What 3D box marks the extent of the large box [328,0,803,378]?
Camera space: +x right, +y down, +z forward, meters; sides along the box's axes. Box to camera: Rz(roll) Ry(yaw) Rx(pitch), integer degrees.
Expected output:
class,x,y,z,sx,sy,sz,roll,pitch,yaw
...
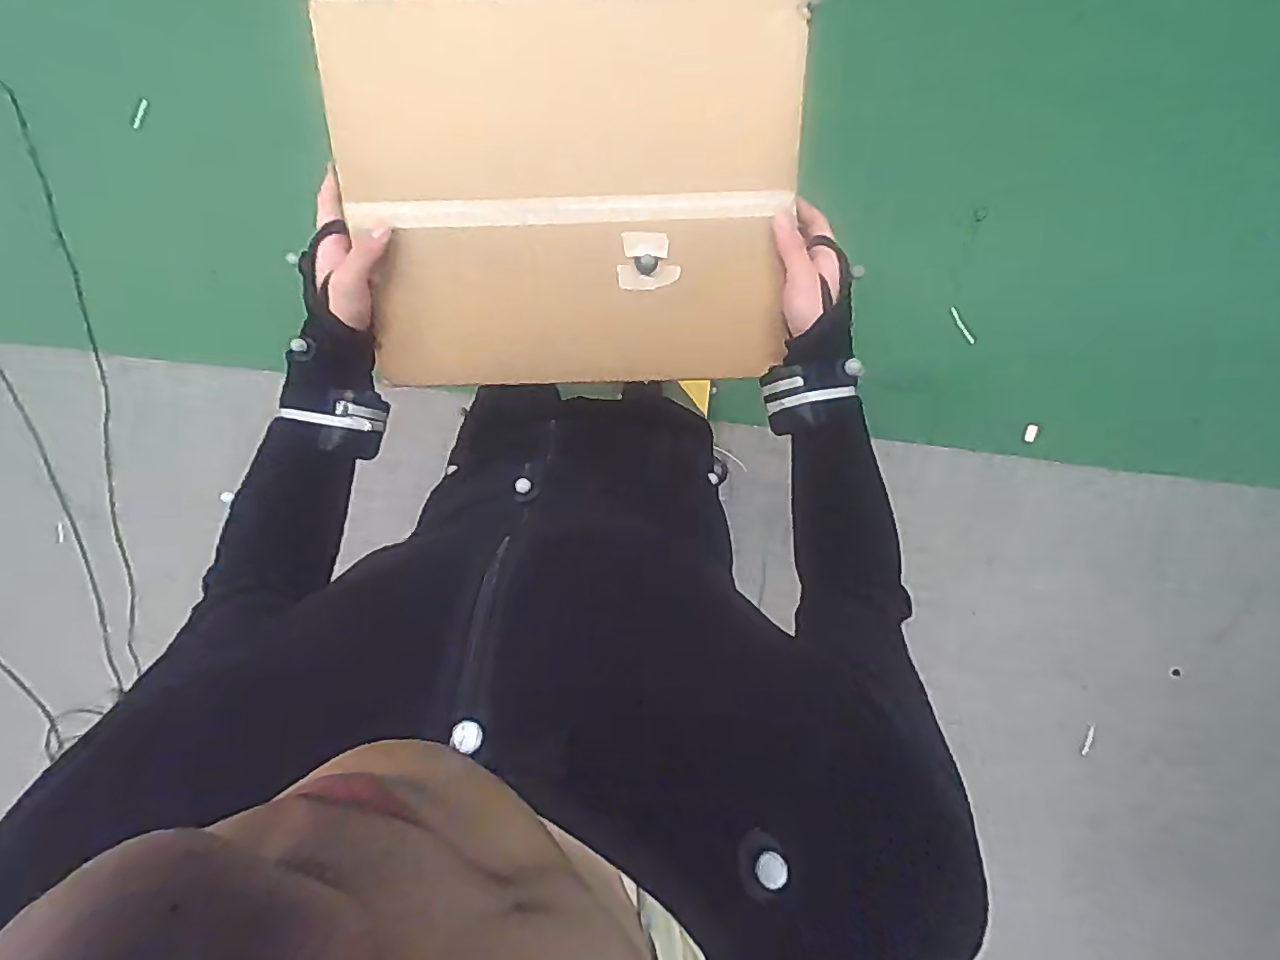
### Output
class,x,y,z,sx,sy,sz,roll,pitch,yaw
large box,-0.061,-0.307,0.638,0.408,0.320,0.320,-2,111,-1
